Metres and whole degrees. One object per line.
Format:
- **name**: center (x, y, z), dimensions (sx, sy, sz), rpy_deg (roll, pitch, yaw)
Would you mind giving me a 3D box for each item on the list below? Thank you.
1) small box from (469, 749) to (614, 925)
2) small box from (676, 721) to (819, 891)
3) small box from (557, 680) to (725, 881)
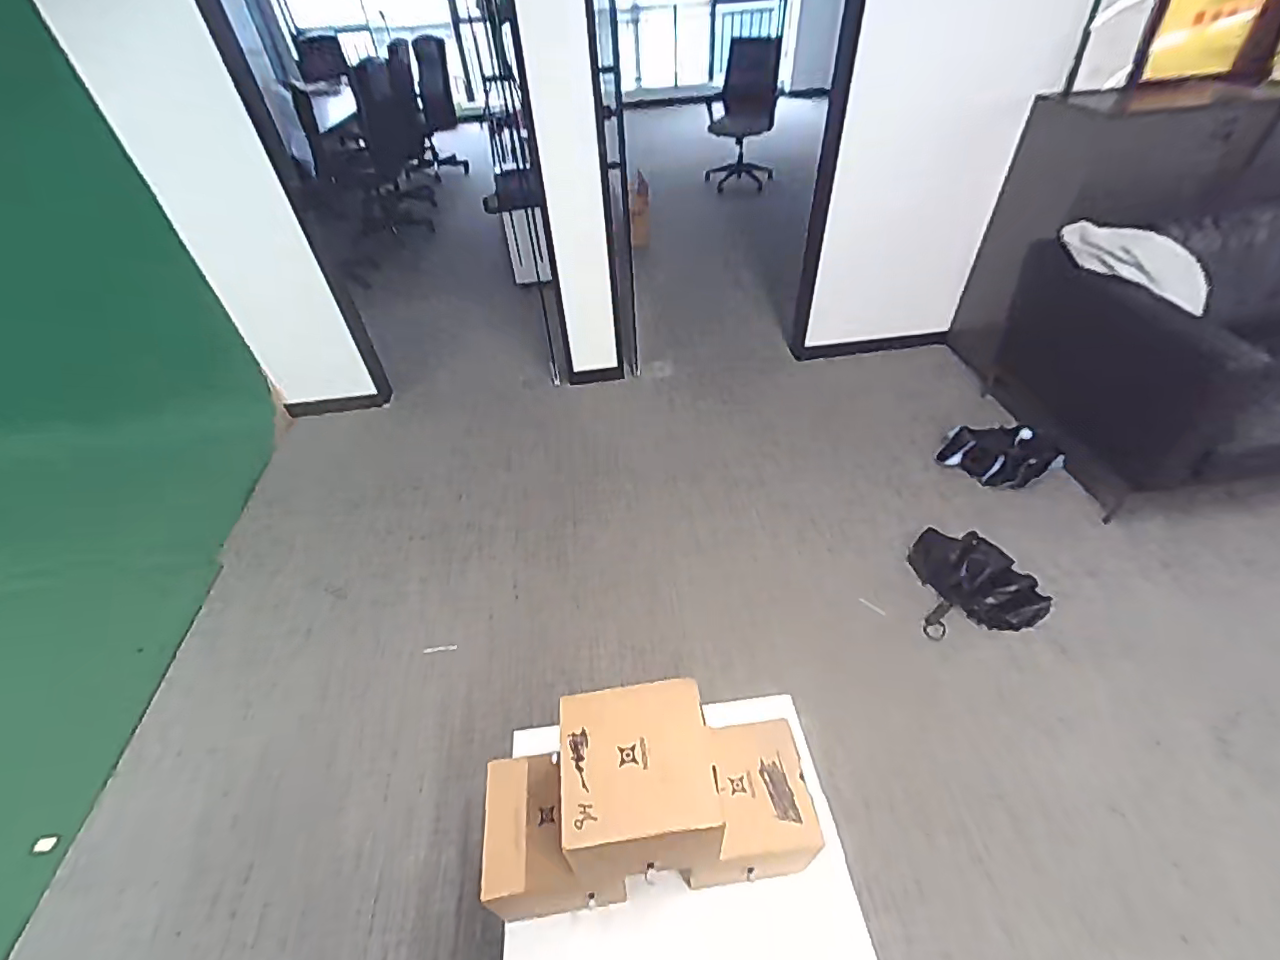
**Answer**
- **small box**: center (-0.130, 0.500, 0.763), dimensions (0.179, 0.176, 0.168), rpy_deg (-7, 42, -6)
- **small box**: center (0.133, 0.474, 0.786), dimensions (0.179, 0.176, 0.168), rpy_deg (-6, 43, -4)
- **small box**: center (-0.006, 0.368, 0.663), dimensions (0.179, 0.176, 0.168), rpy_deg (-5, 43, -5)
